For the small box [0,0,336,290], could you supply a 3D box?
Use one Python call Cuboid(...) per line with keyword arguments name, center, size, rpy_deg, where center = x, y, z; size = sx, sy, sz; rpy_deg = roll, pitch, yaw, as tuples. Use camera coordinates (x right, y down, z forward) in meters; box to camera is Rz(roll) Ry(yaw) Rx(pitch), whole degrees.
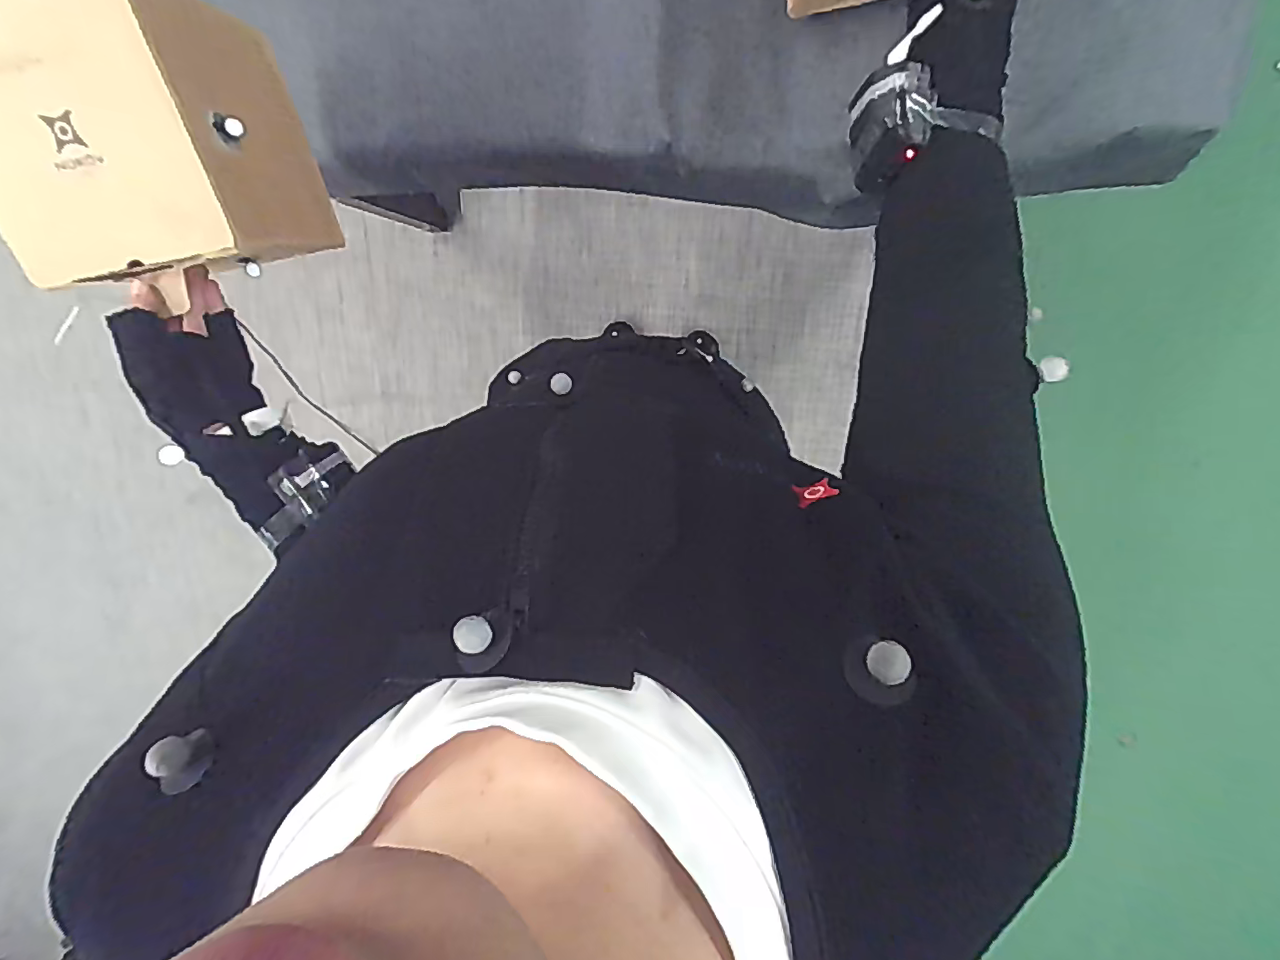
Cuboid(name="small box", center=(-0.386, -0.265, 0.435), size=(0.168, 0.176, 0.179), rpy_deg=(-10, 114, 3))
